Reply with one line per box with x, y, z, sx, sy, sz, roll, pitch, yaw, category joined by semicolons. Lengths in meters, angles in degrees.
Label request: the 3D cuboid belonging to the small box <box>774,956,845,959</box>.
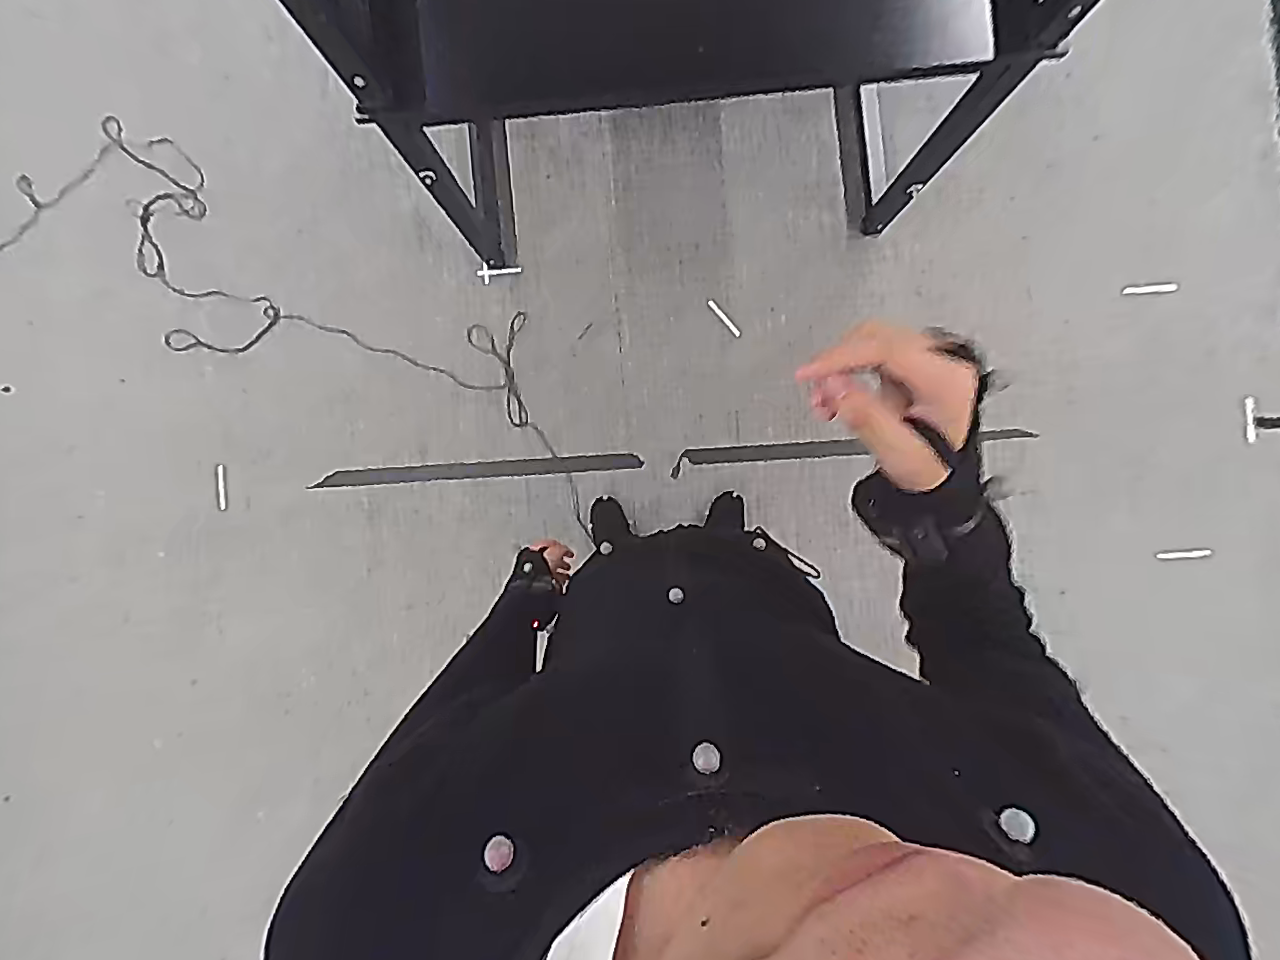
0.343;1.025;0.994;0.168;0.176;0.179;-4;92;1;small box
